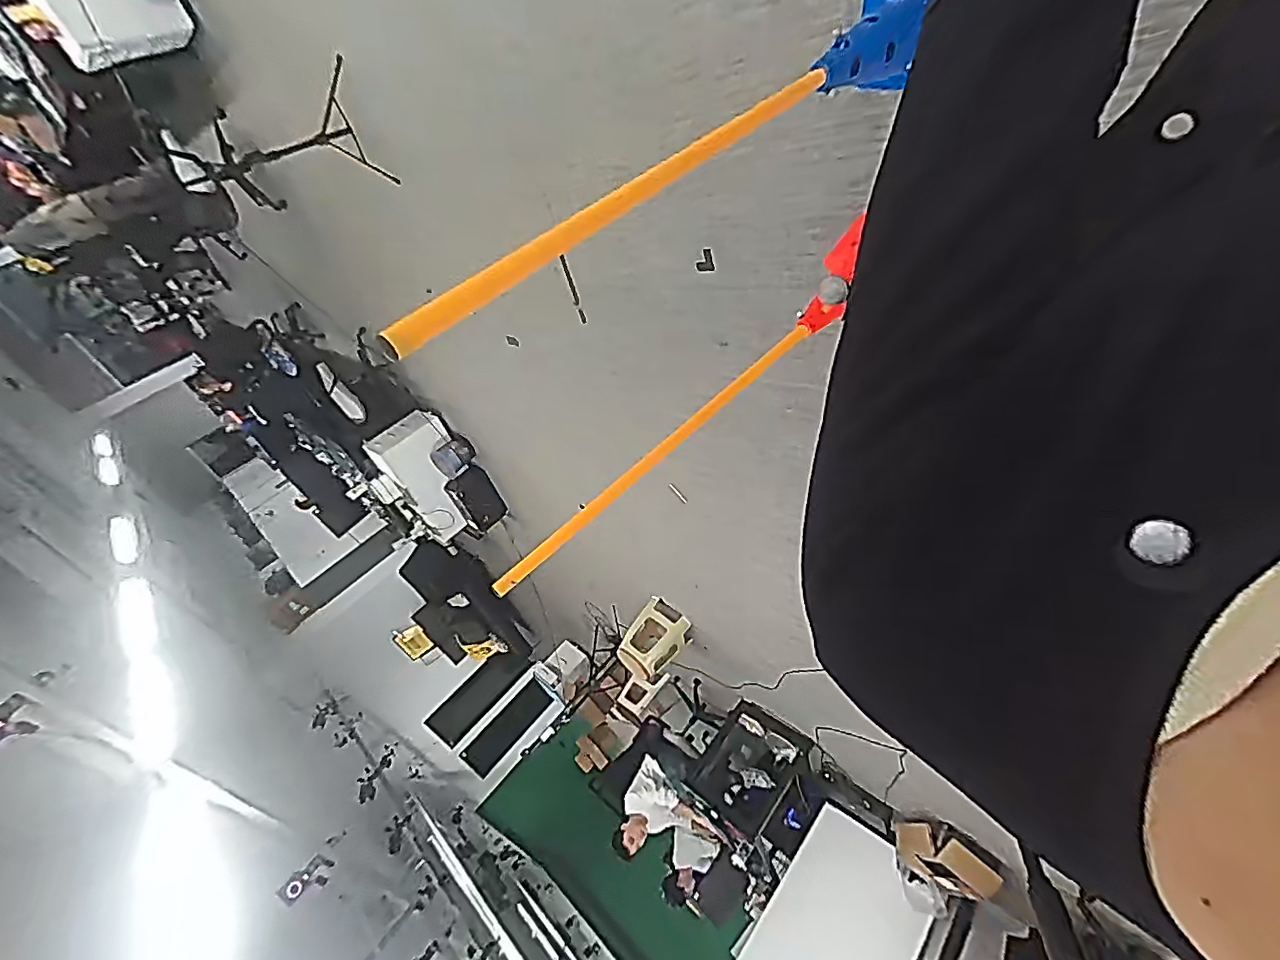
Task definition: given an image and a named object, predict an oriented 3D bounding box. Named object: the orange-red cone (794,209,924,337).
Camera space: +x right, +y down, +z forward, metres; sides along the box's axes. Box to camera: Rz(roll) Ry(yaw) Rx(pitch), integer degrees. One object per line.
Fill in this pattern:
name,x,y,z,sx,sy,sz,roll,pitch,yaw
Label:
orange-red cone,0.460,-0.435,1.251,0.198,0.360,0.199,45,151,2
